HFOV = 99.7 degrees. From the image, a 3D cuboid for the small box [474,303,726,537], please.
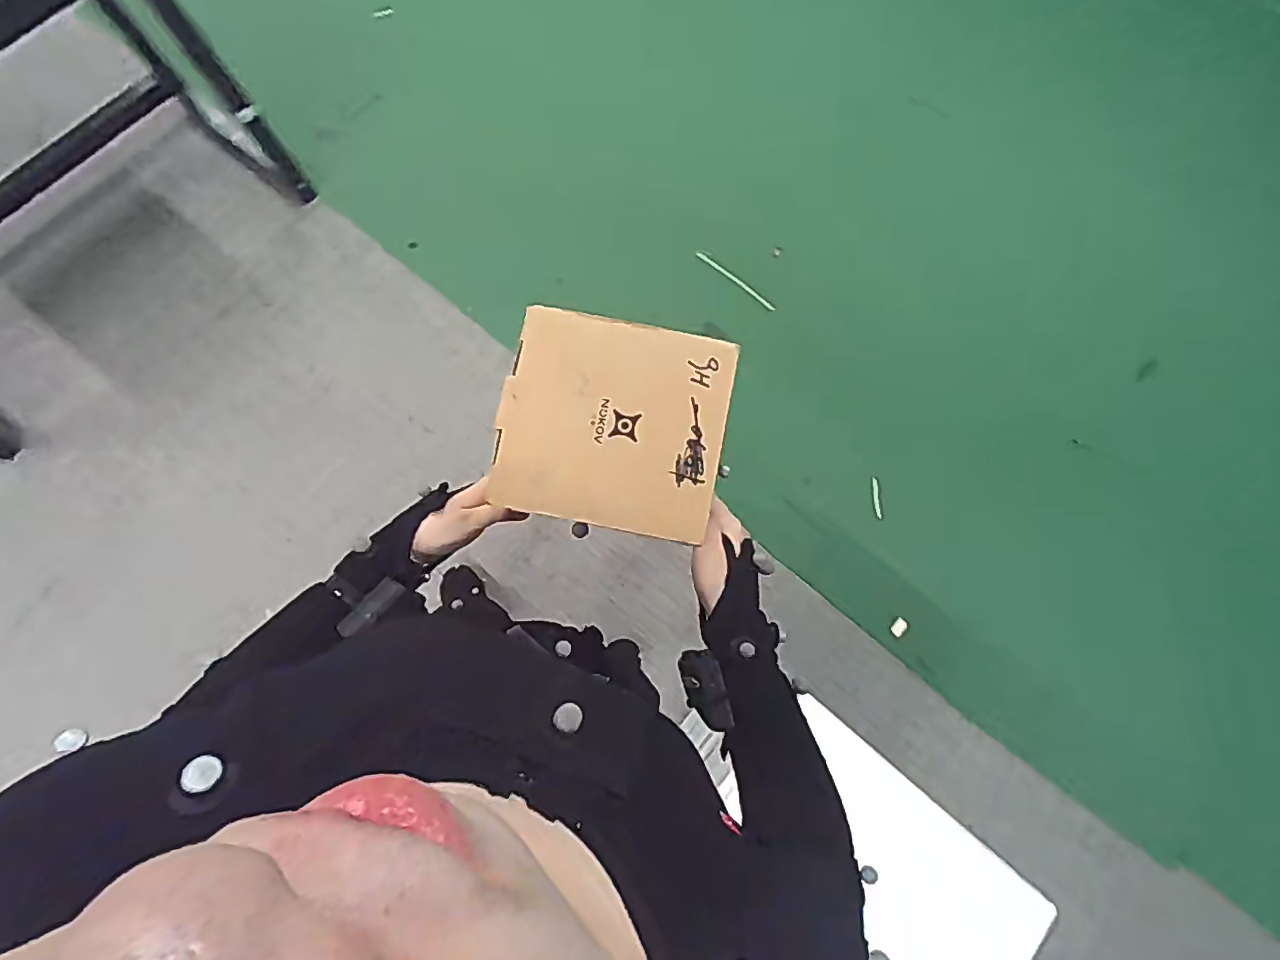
[{"bbox_3d":[-0.030,-0.041,0.506,0.179,0.176,0.168,10,85,1],"label":"small box"}]
